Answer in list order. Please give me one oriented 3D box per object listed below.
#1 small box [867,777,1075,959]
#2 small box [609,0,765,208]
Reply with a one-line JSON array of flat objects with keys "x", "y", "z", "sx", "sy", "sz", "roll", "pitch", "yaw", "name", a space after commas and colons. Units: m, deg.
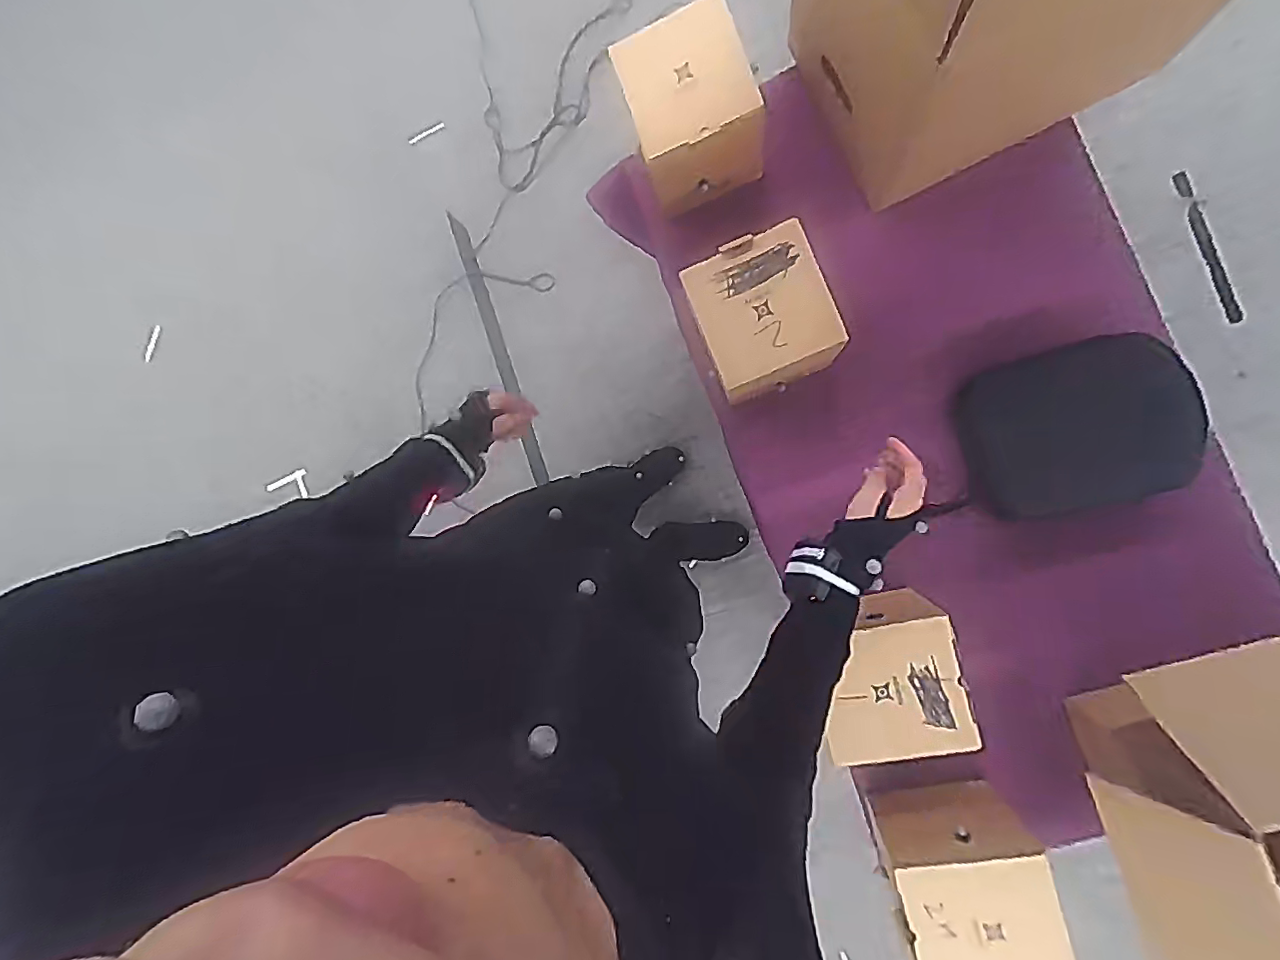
[{"x": 0.427, "y": 0.525, "z": 0.724, "sx": 0.179, "sy": 0.176, "sz": 0.168, "roll": -14, "pitch": 87, "yaw": 11, "name": "small box"}, {"x": 0.074, "y": -0.543, "z": 0.792, "sx": 0.168, "sy": 0.176, "sz": 0.179, "roll": -20, "pitch": 88, "yaw": 11, "name": "small box"}]
